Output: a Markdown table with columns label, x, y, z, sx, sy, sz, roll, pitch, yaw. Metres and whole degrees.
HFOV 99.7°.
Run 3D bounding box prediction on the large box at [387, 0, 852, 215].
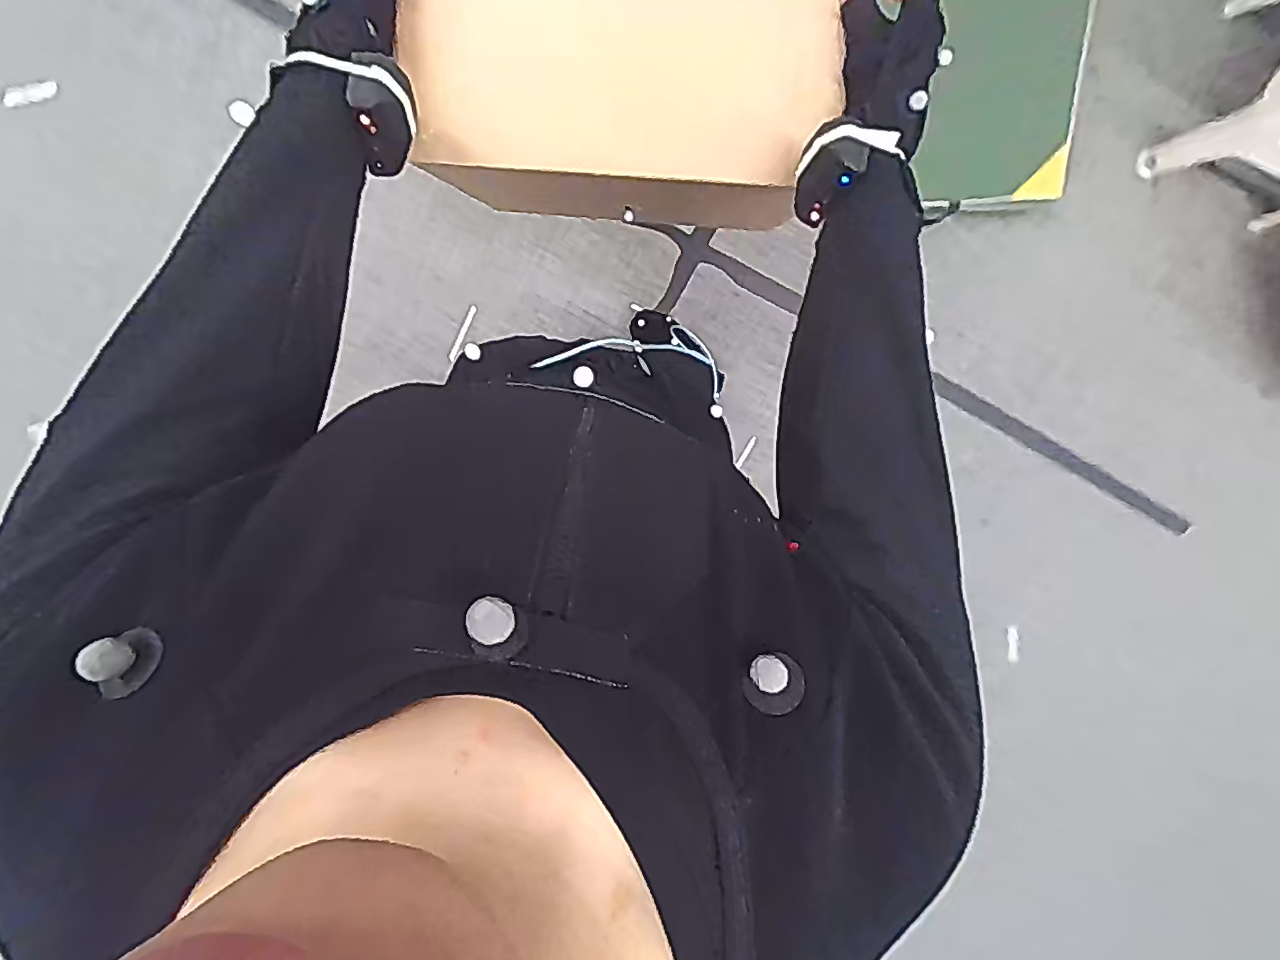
| label | x | y | z | sx | sy | sz | roll | pitch | yaw |
| --- | --- | --- | --- | --- | --- | --- | --- | --- | --- |
| large box | -0.011 | -0.482 | 0.591 | 0.408 | 0.320 | 0.320 | 3 | 108 | 1 |
